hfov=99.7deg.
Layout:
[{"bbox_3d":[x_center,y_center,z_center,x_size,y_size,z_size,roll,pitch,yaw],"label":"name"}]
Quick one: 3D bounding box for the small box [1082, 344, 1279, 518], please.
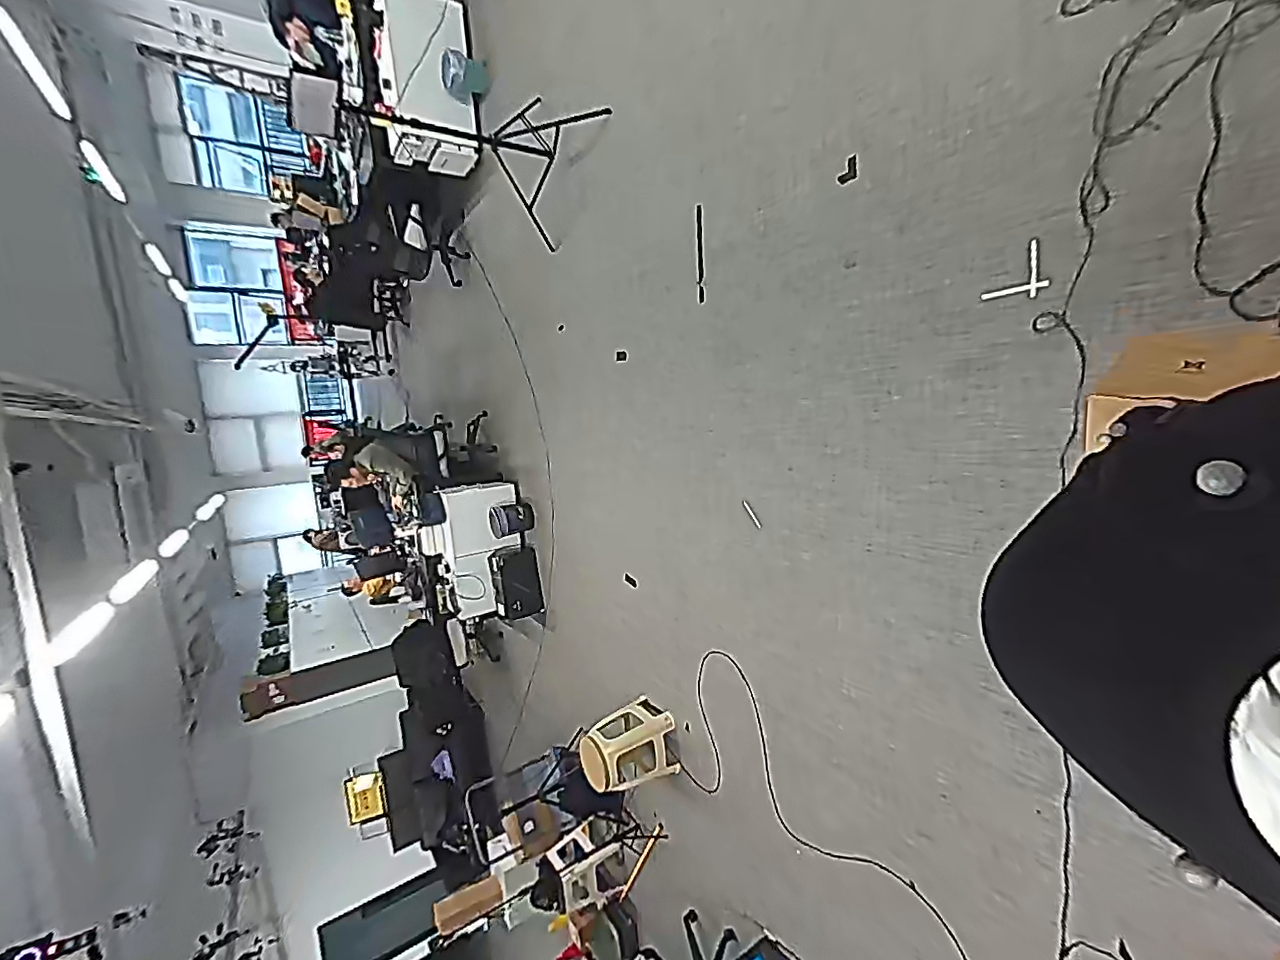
[{"bbox_3d":[0.735,-0.072,0.738,0.168,0.179,0.176,20,138,50],"label":"small box"}]
